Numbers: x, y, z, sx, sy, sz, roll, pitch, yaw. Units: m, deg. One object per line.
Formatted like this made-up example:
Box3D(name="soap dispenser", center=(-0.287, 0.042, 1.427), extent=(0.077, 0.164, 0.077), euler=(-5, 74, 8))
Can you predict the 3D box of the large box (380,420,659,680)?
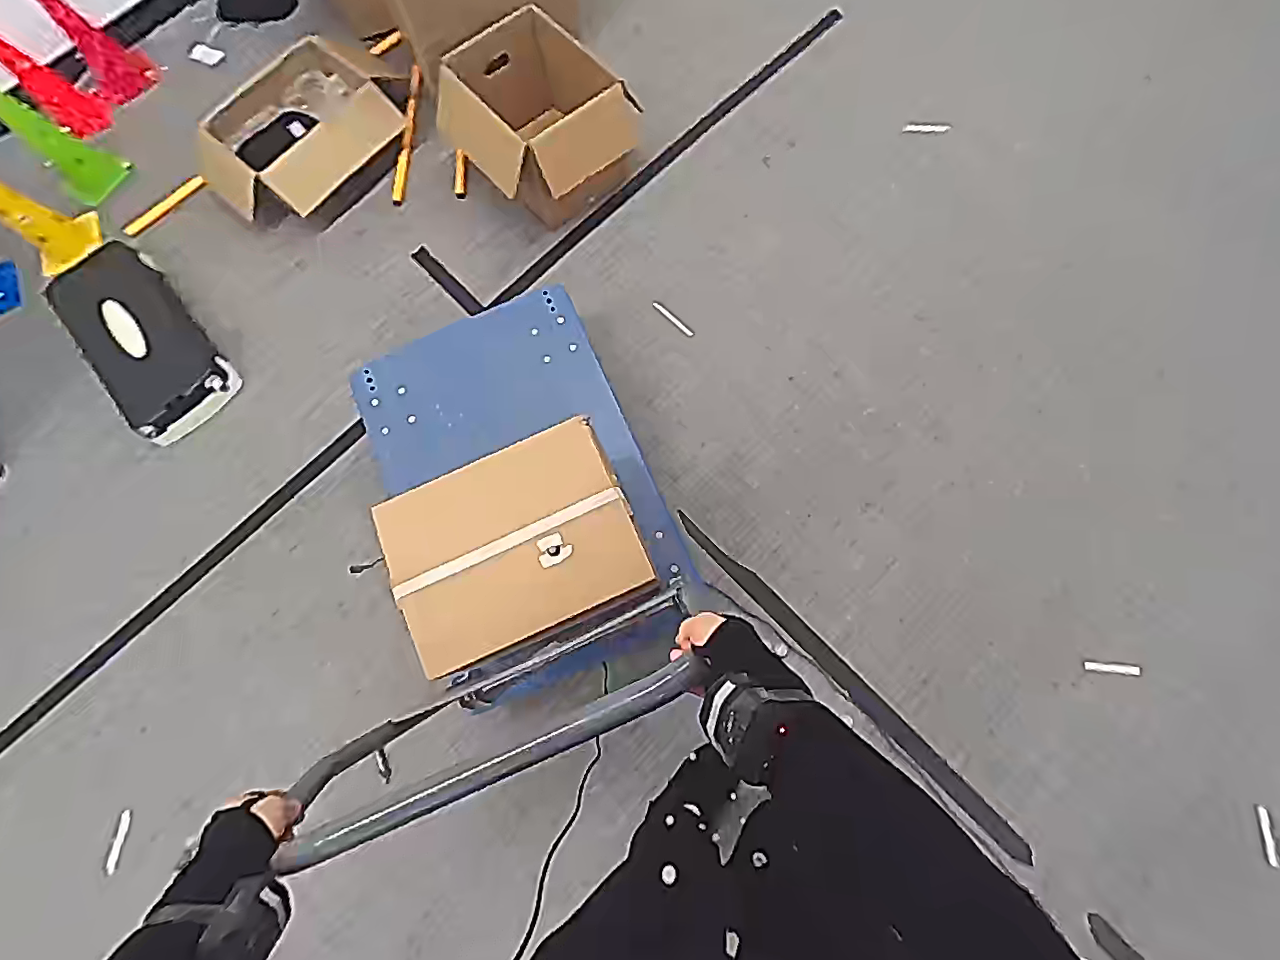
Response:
Box3D(name="large box", center=(-0.206, 0.144, 1.059), extent=(0.408, 0.320, 0.320), euler=(-25, 77, -3))
